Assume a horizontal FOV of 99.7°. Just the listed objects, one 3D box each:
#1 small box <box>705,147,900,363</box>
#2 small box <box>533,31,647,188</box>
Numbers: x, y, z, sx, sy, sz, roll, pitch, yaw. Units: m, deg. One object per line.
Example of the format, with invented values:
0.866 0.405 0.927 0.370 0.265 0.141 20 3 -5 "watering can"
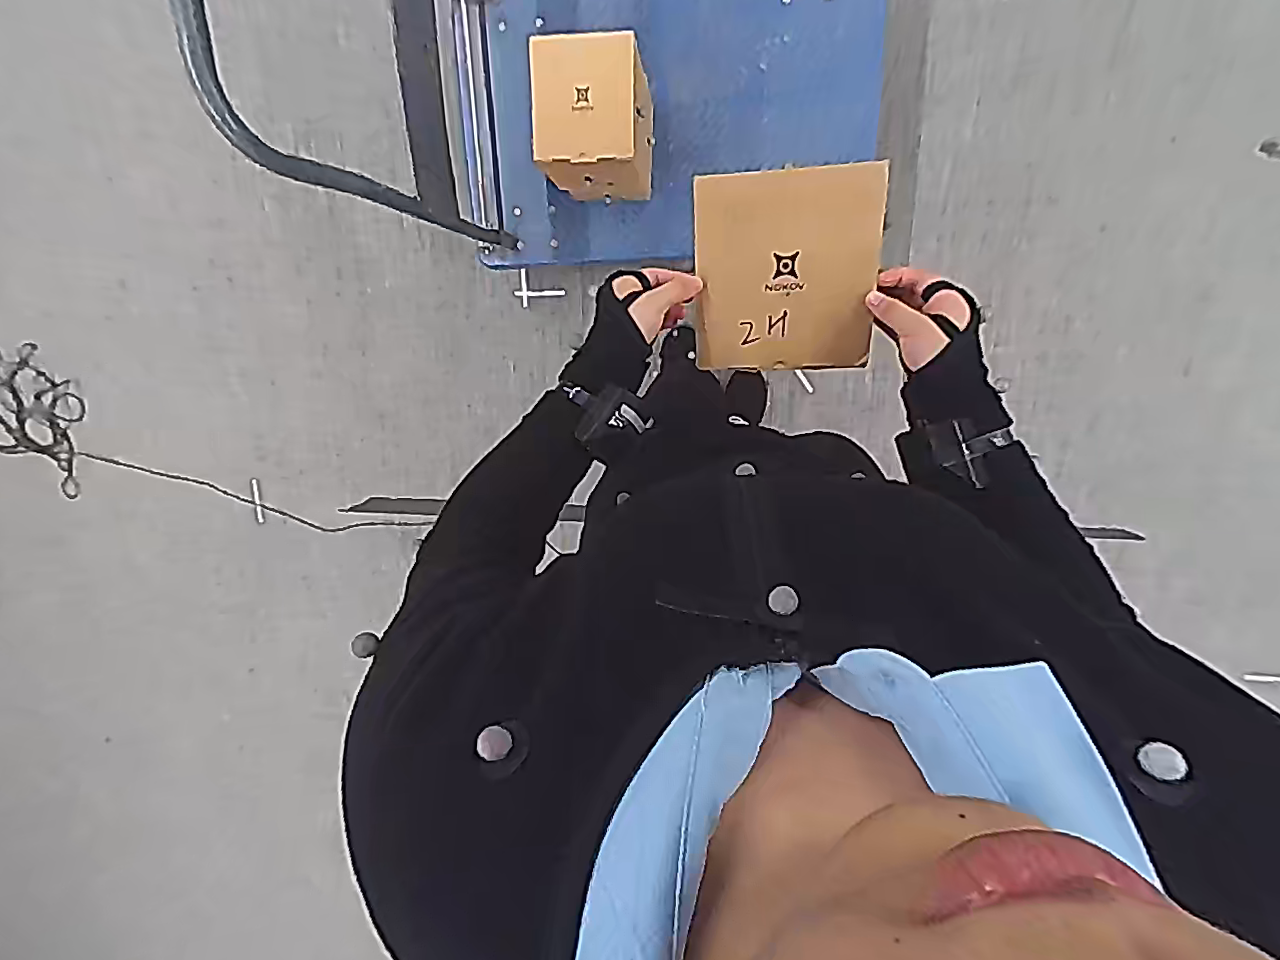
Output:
0.154 -0.223 0.563 0.168 0.176 0.179 1 112 12 "small box"
-0.078 -0.615 0.917 0.168 0.176 0.179 2 105 5 "small box"
